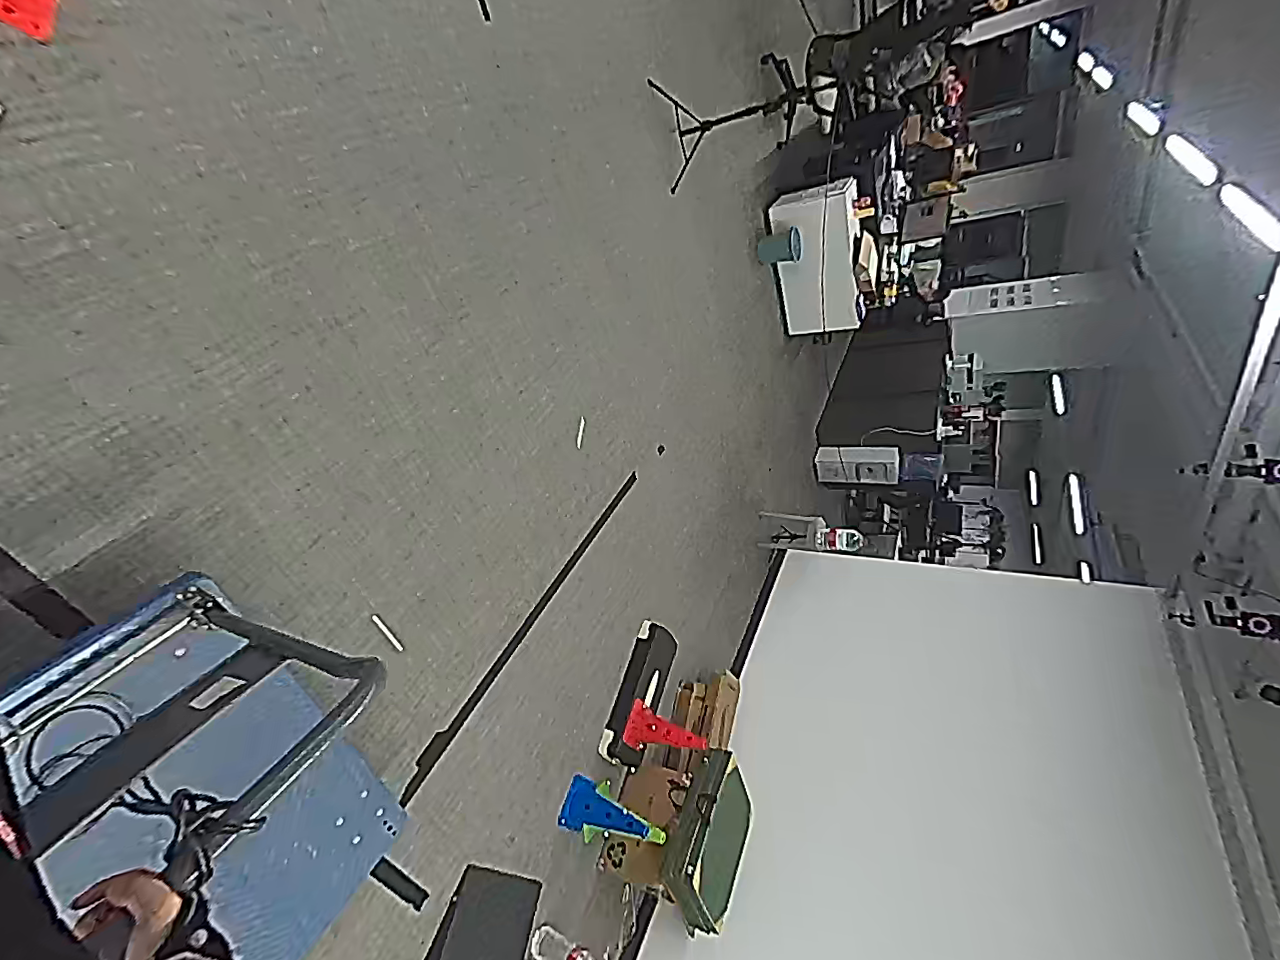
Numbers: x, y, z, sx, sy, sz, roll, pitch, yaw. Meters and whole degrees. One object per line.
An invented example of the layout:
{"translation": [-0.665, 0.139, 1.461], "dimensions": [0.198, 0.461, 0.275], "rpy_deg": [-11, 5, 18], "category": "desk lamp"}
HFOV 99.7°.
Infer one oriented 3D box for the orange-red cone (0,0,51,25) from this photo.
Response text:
{"translation": [-0.935, -0.873, 0.775], "dimensions": [0.198, 0.360, 0.199], "rpy_deg": [15, 81, -57], "category": "orange-red cone"}
